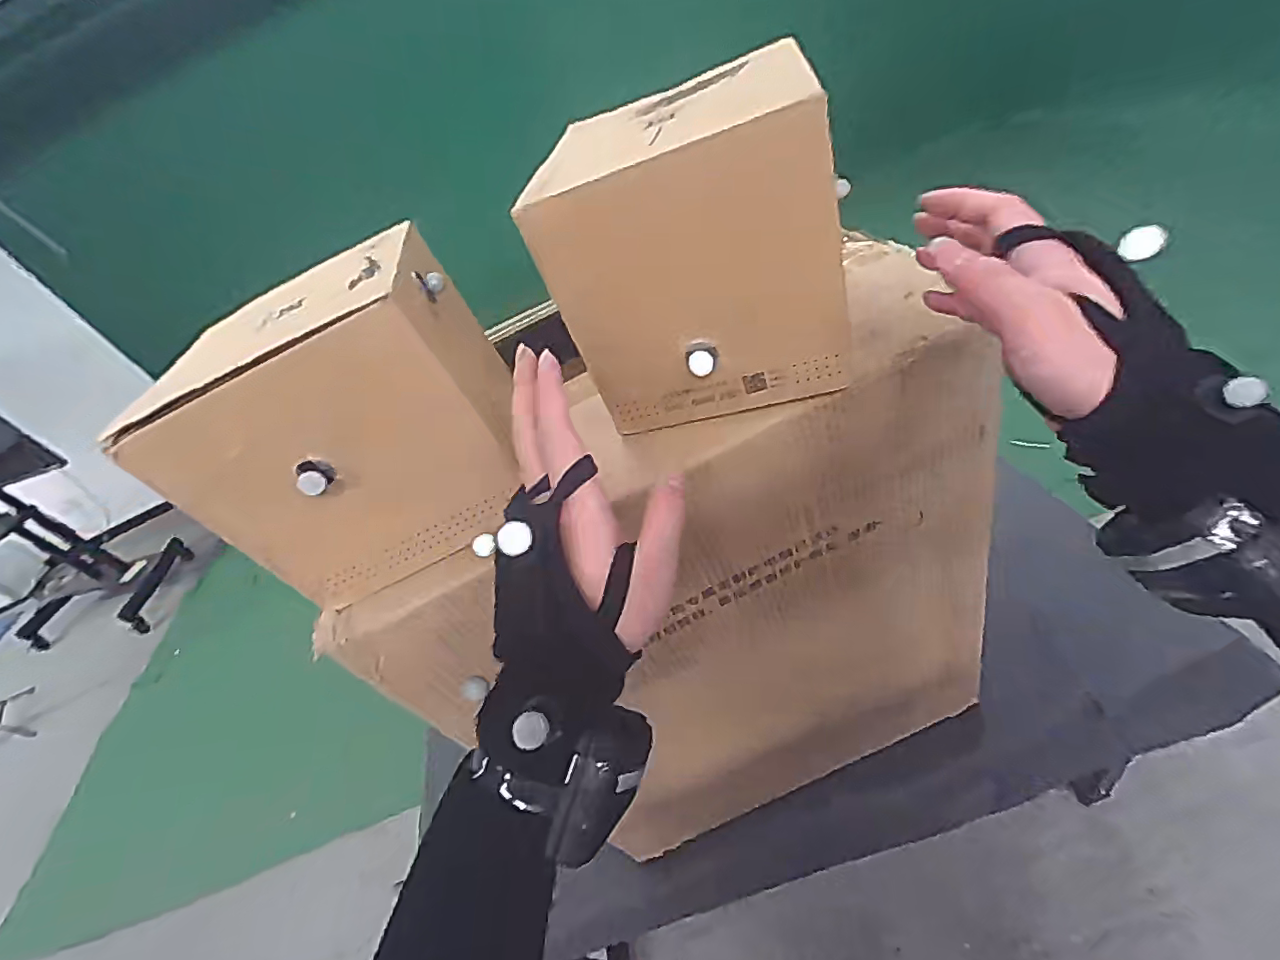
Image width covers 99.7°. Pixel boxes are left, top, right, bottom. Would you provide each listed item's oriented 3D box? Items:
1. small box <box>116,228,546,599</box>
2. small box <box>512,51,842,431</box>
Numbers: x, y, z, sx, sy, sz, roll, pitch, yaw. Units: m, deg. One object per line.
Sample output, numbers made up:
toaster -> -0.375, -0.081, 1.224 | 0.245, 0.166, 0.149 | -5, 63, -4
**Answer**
small box -> -0.192, -0.045, 0.393 | 0.179, 0.176, 0.168 | -28, 41, 3
small box -> 0.040, -0.161, 0.384 | 0.168, 0.176, 0.179 | -11, 43, 19
